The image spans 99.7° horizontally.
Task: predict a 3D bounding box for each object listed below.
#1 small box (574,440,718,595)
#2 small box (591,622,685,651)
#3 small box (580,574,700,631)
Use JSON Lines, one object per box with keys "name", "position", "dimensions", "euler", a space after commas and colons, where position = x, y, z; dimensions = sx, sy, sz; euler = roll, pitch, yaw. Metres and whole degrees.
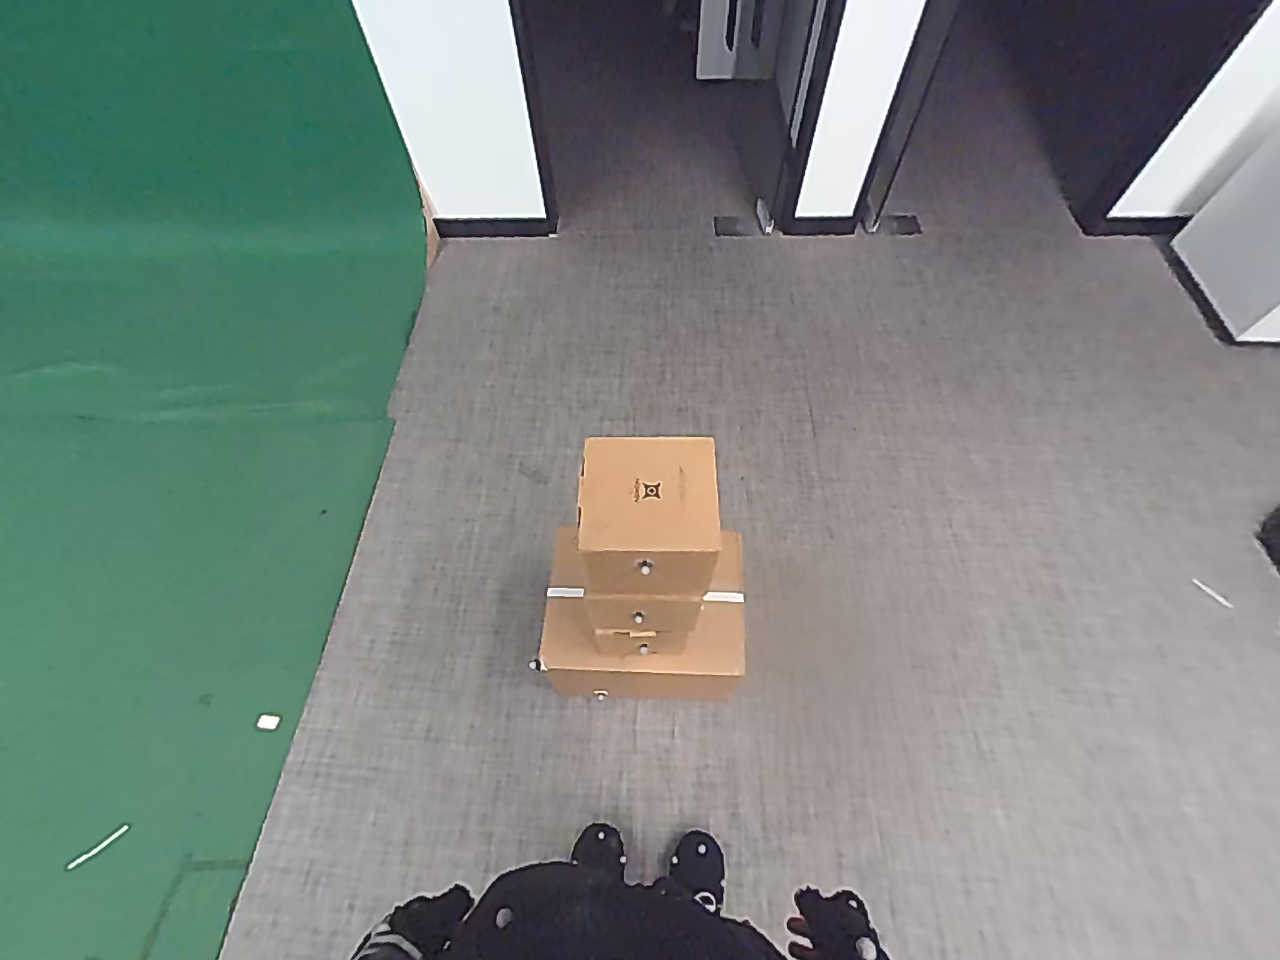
{"name": "small box", "position": [0.008, 0.058, 0.754], "dimensions": [0.179, 0.176, 0.168], "euler": [0, 61, -1]}
{"name": "small box", "position": [-0.002, 0.226, 1.034], "dimensions": [0.168, 0.176, 0.179], "euler": [-2, 61, 0]}
{"name": "small box", "position": [0.004, 0.145, 0.891], "dimensions": [0.179, 0.176, 0.168], "euler": [1, 60, 2]}
